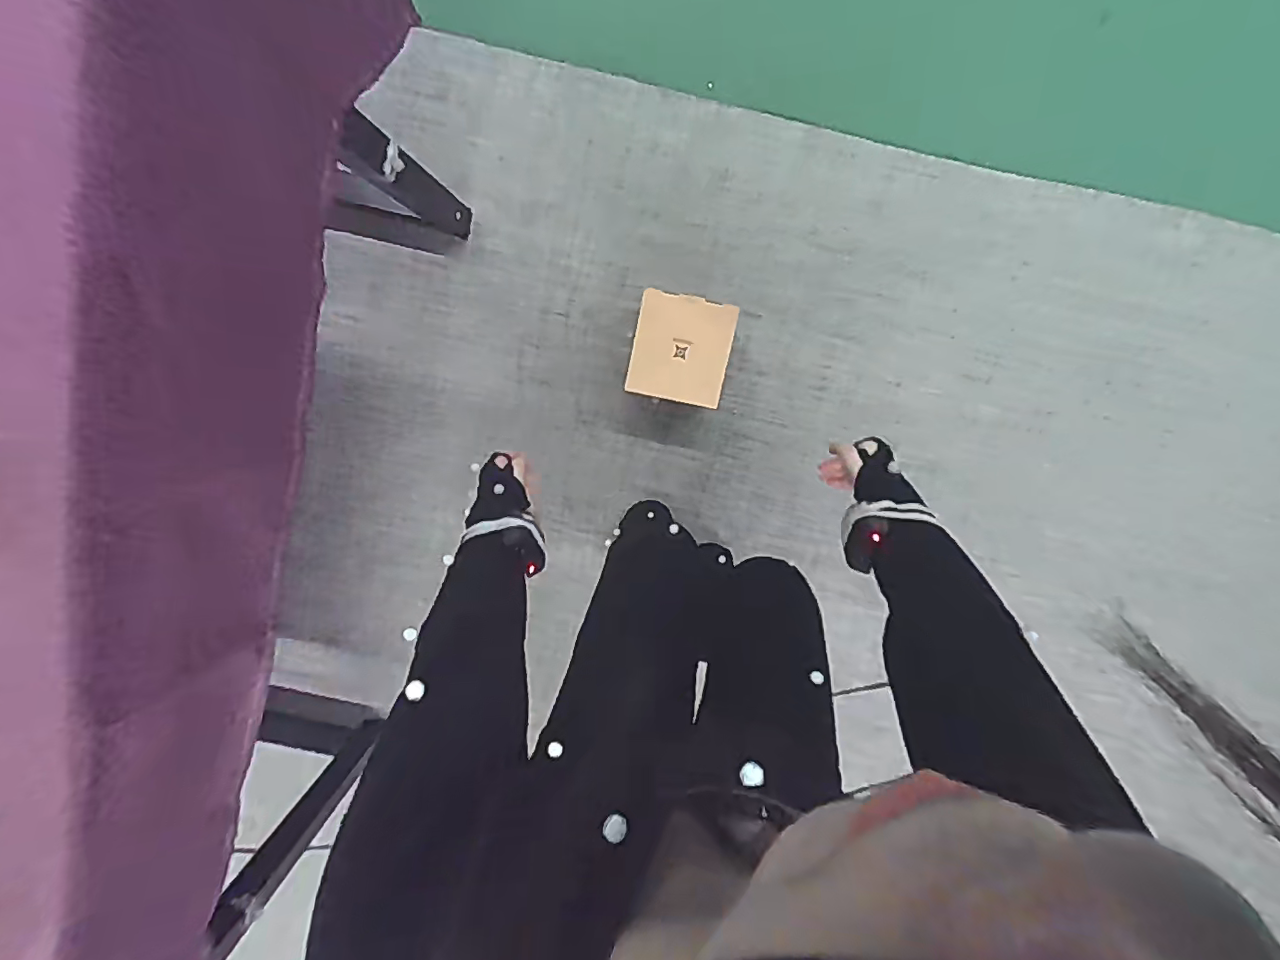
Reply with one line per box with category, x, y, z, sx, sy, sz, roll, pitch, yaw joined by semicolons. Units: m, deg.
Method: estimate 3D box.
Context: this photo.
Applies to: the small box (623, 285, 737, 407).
small box;0.068;-0.241;0.993;0.168;0.176;0.179;11;101;-1
